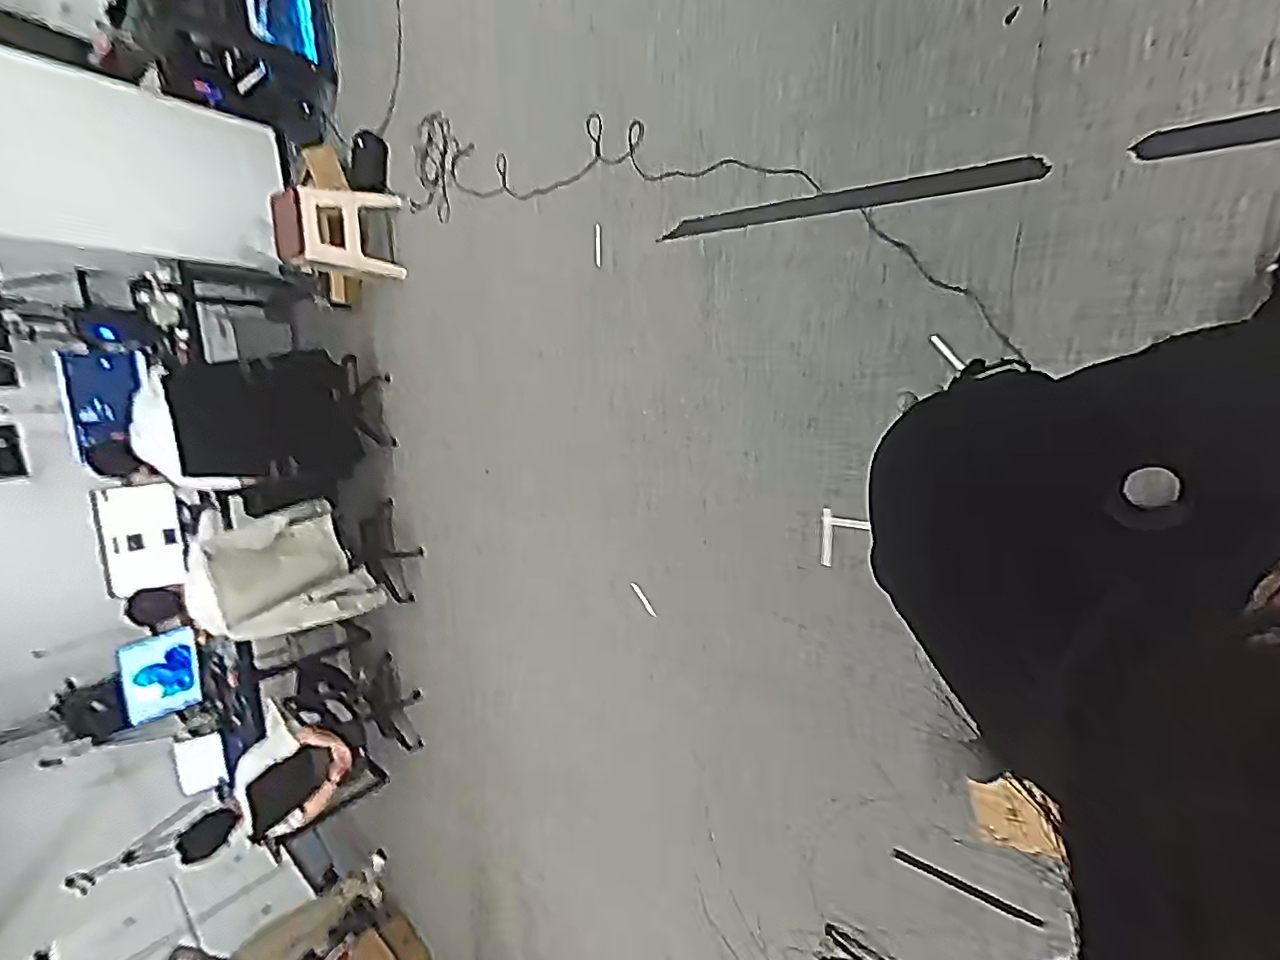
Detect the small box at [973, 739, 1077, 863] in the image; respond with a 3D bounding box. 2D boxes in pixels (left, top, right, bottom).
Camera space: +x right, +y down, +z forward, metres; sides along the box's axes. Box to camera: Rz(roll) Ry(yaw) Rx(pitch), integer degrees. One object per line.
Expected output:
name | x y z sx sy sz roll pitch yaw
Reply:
small box | 0.916 0.749 1.283 0.168 0.176 0.179 -15 89 40
